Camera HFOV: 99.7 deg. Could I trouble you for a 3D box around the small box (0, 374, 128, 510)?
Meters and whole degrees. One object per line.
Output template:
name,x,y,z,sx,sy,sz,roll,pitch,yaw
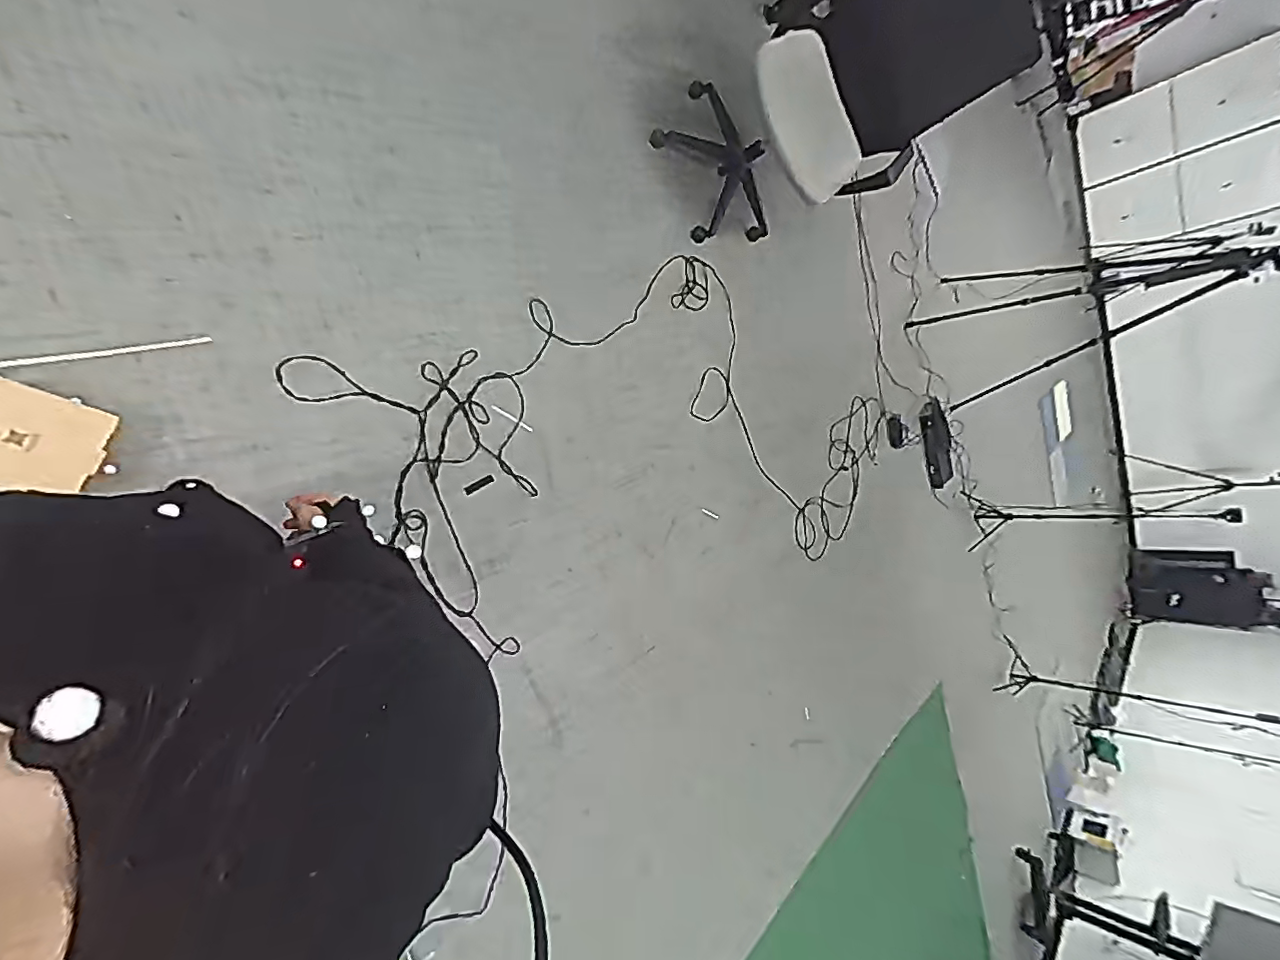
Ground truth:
small box,-0.994,-0.057,0.892,0.179,0.176,0.168,27,69,-36
